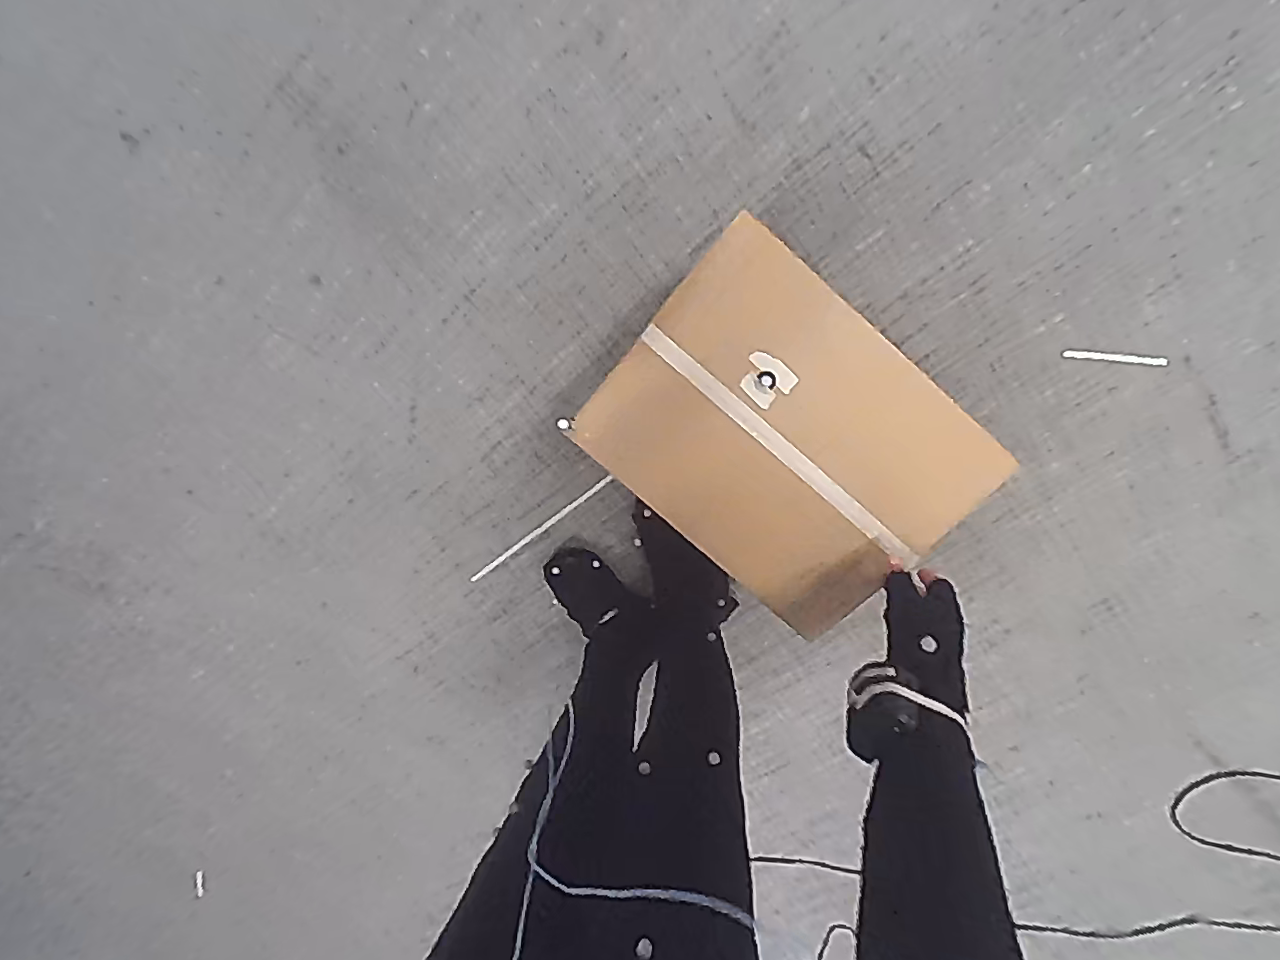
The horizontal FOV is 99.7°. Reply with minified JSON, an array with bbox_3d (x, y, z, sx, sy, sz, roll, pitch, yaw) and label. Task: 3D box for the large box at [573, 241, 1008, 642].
[{"bbox_3d":[0.187,-0.065,0.767,0.408,0.320,0.320,40,109,-4],"label":"large box"}]
